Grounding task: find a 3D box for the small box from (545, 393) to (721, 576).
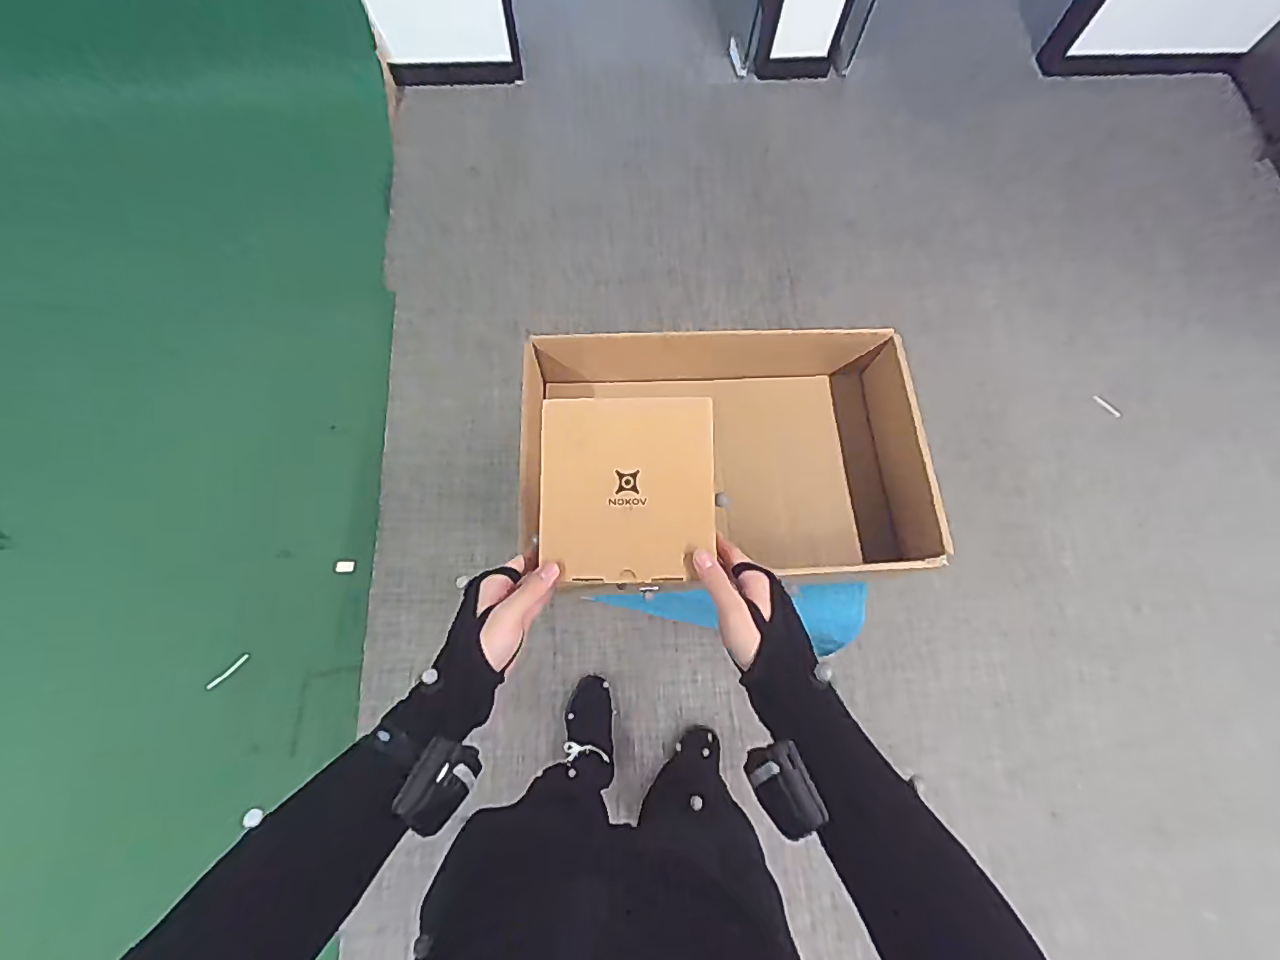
[{"bbox_3d":[-0.005,0.014,0.588,0.168,0.176,0.179,-1,82,1],"label":"small box"}]
